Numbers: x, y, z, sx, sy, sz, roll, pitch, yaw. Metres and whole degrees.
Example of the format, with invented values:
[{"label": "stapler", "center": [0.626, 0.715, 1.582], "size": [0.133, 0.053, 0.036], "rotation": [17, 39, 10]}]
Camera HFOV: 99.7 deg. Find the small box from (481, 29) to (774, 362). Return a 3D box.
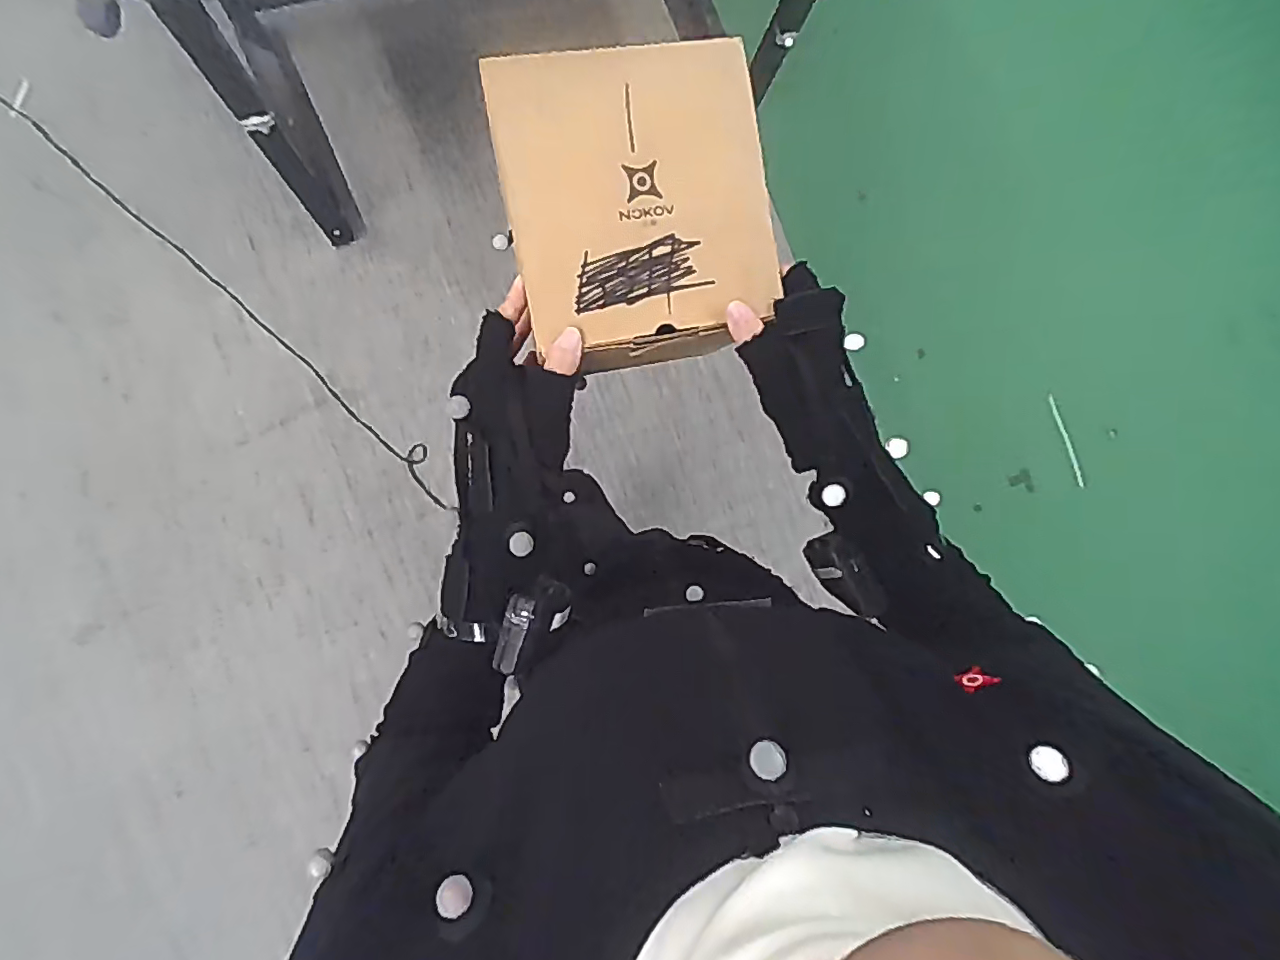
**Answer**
[{"label": "small box", "center": [-0.015, -0.193, 0.419], "size": [0.168, 0.176, 0.179], "rotation": [-11, 96, -8]}]
